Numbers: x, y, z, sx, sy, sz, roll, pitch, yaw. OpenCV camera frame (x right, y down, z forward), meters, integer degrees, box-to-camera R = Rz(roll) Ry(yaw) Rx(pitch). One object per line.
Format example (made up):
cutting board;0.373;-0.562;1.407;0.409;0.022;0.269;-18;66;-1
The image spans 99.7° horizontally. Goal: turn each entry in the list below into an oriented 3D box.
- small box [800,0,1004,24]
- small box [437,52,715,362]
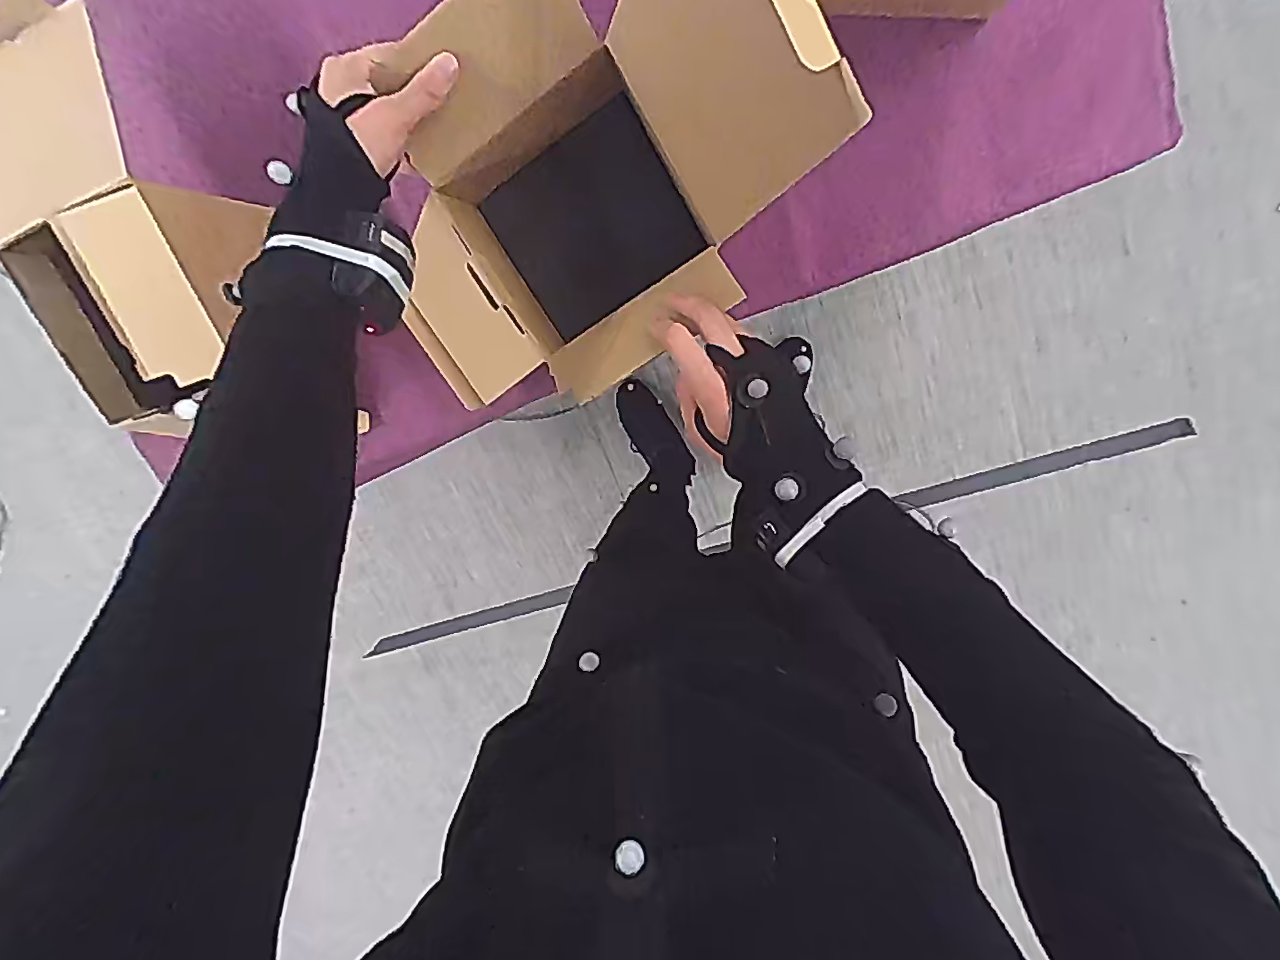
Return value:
small box;0.228;-0.468;0.391;0.179;0.176;0.168;7;109;5
small box;-0.043;-0.231;0.507;0.179;0.176;0.168;-29;103;15
